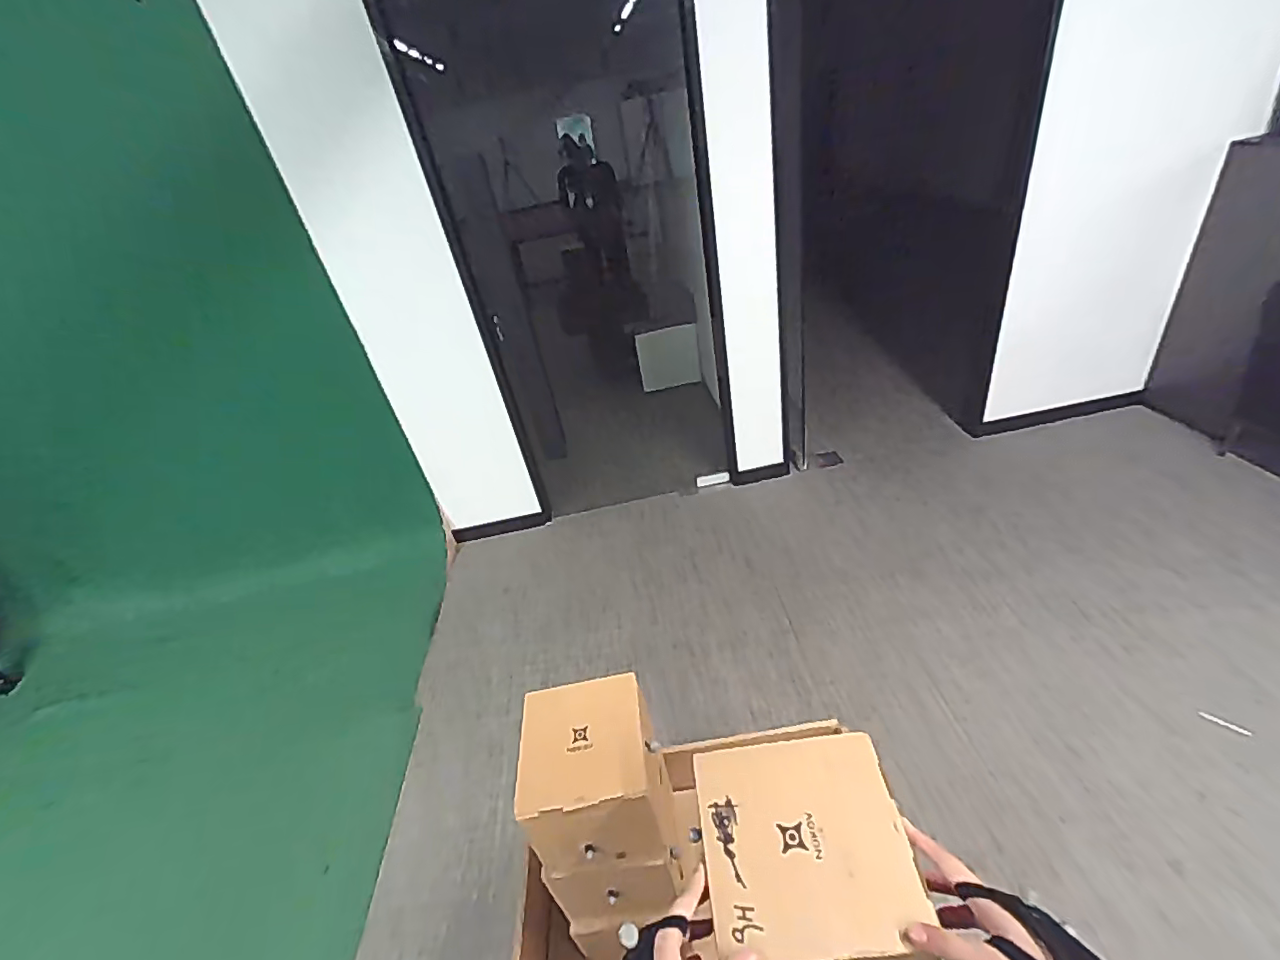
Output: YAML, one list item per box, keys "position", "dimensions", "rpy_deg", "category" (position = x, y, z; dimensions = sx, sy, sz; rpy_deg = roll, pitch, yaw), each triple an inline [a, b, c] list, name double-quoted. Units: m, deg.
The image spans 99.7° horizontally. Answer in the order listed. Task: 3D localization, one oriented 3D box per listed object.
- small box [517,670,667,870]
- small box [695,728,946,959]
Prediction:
- position: [-0.061, 0.403, 0.759]
  dimensions: [0.168, 0.176, 0.179]
  rpy_deg: [-12, 34, 1]
  category: "small box"
- position: [0.154, 0.364, 0.519]
  dimensions: [0.179, 0.176, 0.168]
  rpy_deg: [-9, 39, 4]
  category: "small box"
